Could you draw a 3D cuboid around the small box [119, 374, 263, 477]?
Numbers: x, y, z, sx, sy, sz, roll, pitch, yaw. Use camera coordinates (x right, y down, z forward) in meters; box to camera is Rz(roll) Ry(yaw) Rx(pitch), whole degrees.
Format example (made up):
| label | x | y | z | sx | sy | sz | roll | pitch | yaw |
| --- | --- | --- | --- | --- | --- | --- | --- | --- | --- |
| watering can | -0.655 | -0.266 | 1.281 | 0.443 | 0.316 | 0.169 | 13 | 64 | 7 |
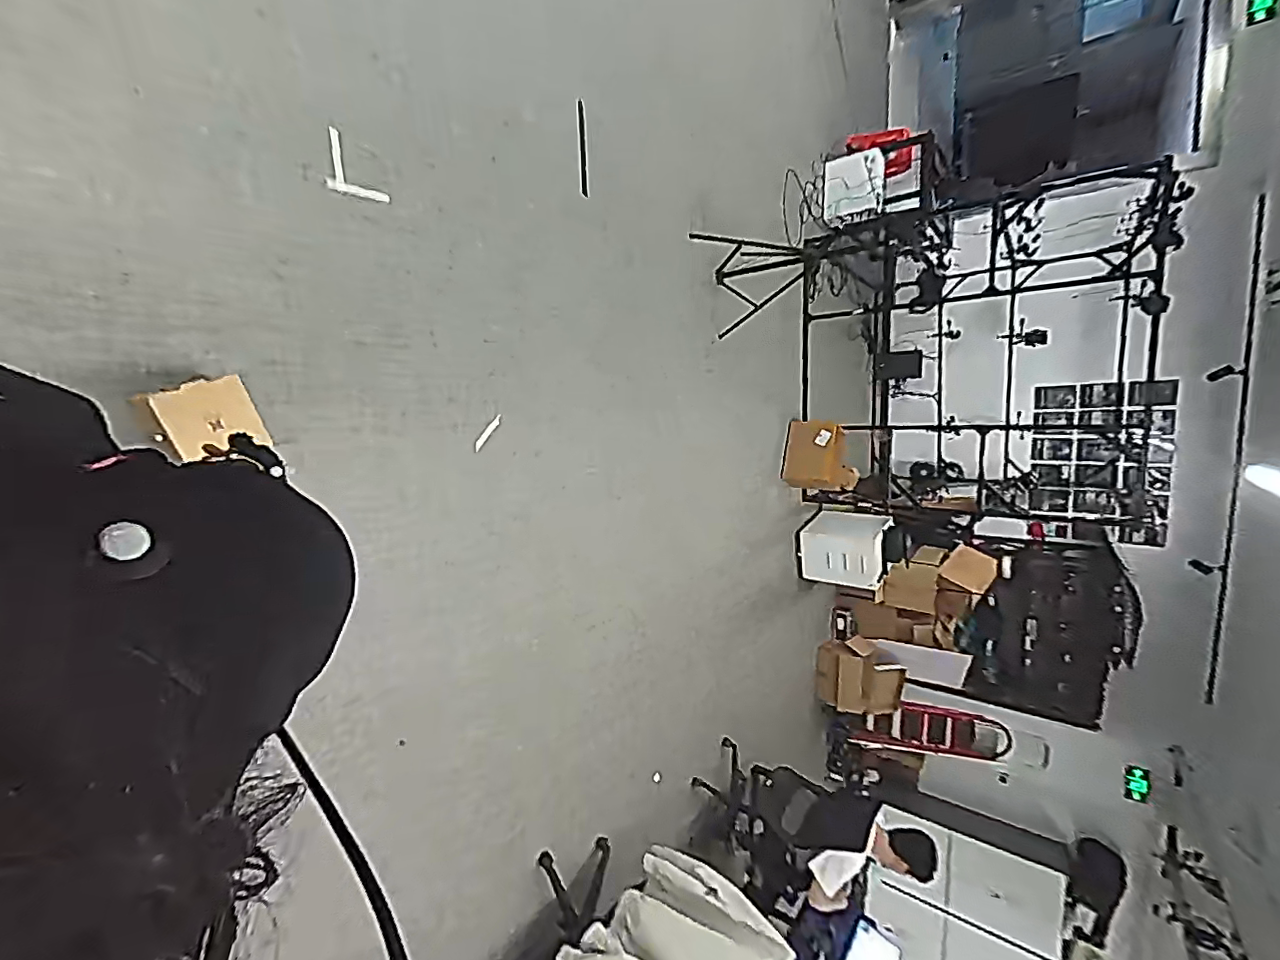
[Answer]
| label | x | y | z | sx | sy | sz | roll | pitch | yaw |
| --- | --- | --- | --- | --- | --- | --- | --- | --- | --- |
| small box | -0.974 | -0.120 | 1.173 | 0.168 | 0.176 | 0.179 | -38 | 123 | -45 |
